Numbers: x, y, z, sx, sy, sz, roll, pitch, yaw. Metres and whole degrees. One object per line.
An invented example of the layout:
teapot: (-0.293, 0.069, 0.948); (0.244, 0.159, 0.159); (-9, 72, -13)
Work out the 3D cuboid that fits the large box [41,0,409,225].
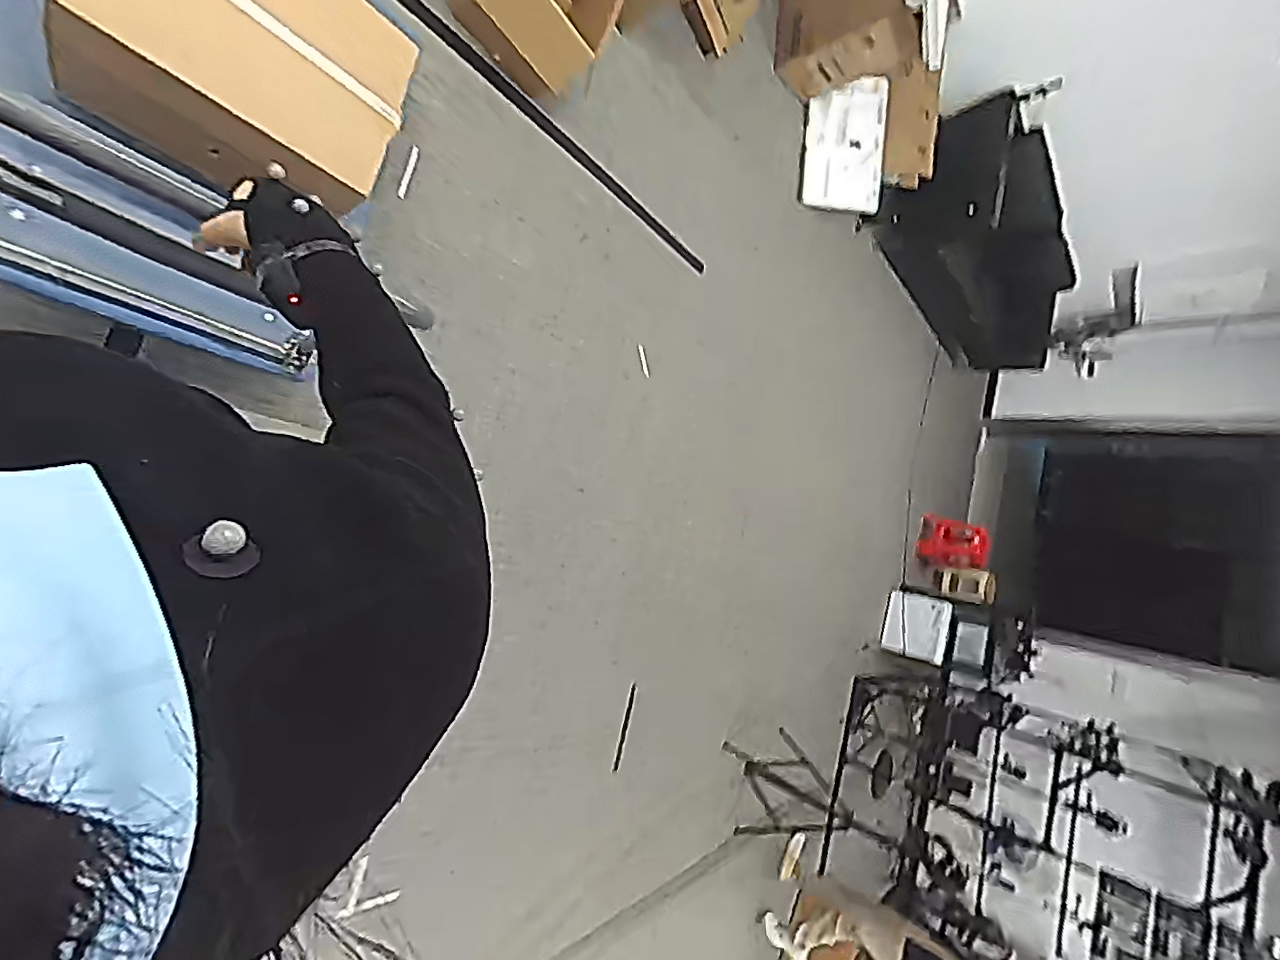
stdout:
large box: (-0.696, -0.724, 0.945); (0.408, 0.320, 0.320); (22, 78, -45)
